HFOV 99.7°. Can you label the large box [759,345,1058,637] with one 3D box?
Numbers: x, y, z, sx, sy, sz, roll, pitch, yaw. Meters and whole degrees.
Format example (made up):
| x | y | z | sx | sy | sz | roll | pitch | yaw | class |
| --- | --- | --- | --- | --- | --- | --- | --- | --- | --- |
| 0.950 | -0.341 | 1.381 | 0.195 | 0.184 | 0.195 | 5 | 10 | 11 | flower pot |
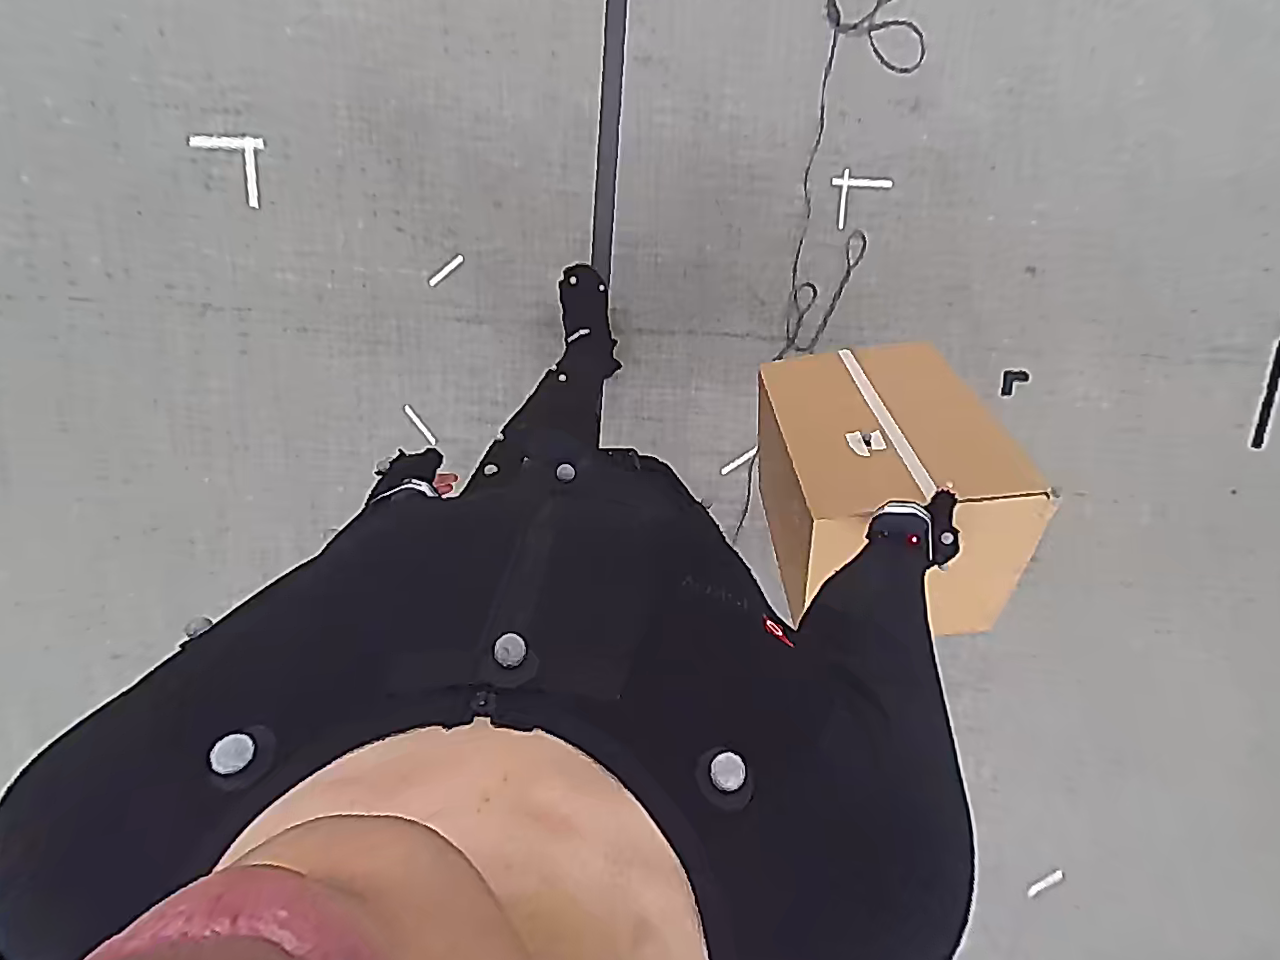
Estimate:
| x | y | z | sx | sy | sz | roll | pitch | yaw | class |
| --- | --- | --- | --- | --- | --- | --- | --- | --- | --- |
| 0.405 | 0.012 | 0.955 | 0.320 | 0.408 | 0.320 | -8 | 133 | 5 | large box |
